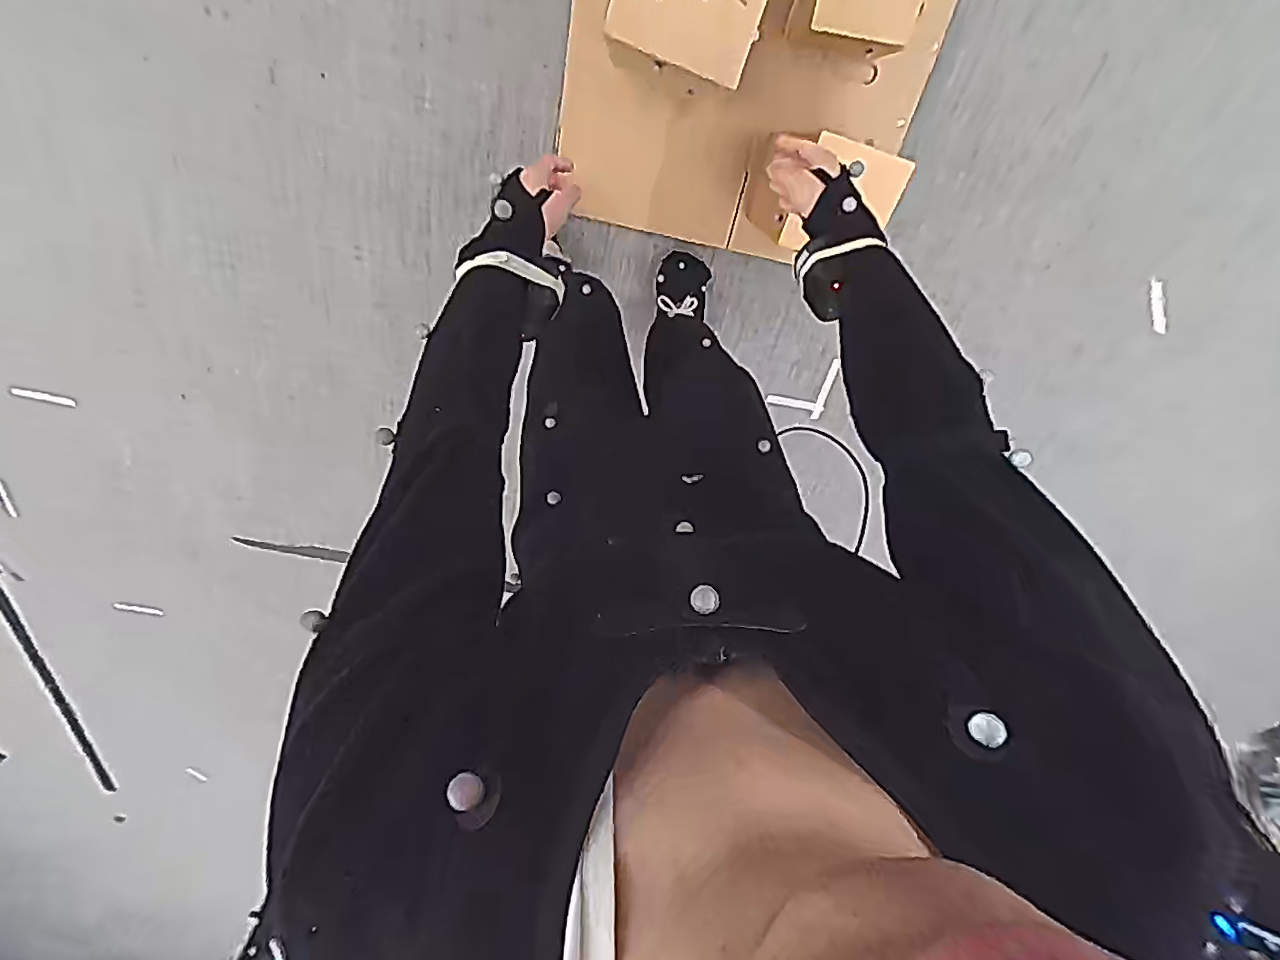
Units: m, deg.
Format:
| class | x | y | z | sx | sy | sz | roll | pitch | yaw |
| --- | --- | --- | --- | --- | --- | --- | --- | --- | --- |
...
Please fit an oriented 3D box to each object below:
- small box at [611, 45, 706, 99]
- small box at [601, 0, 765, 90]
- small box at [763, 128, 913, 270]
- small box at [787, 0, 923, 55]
| class | x | y | z | sx | sy | sz | roll | pitch | yaw |
| --- | --- | --- | --- | --- | --- | --- | --- | --- | --- |
| small box | 0.062 | -0.796 | 0.949 | 0.179 | 0.176 | 0.168 | 19 | 122 | -10 |
| small box | 0.061 | -0.613 | 0.675 | 0.179 | 0.176 | 0.168 | 16 | 122 | -10 |
| small box | 0.332 | -0.497 | 0.950 | 0.168 | 0.176 | 0.179 | 13 | 124 | -8 |
| small box | 0.372 | -0.844 | 0.918 | 0.179 | 0.176 | 0.168 | 6 | 122 | -5 |
